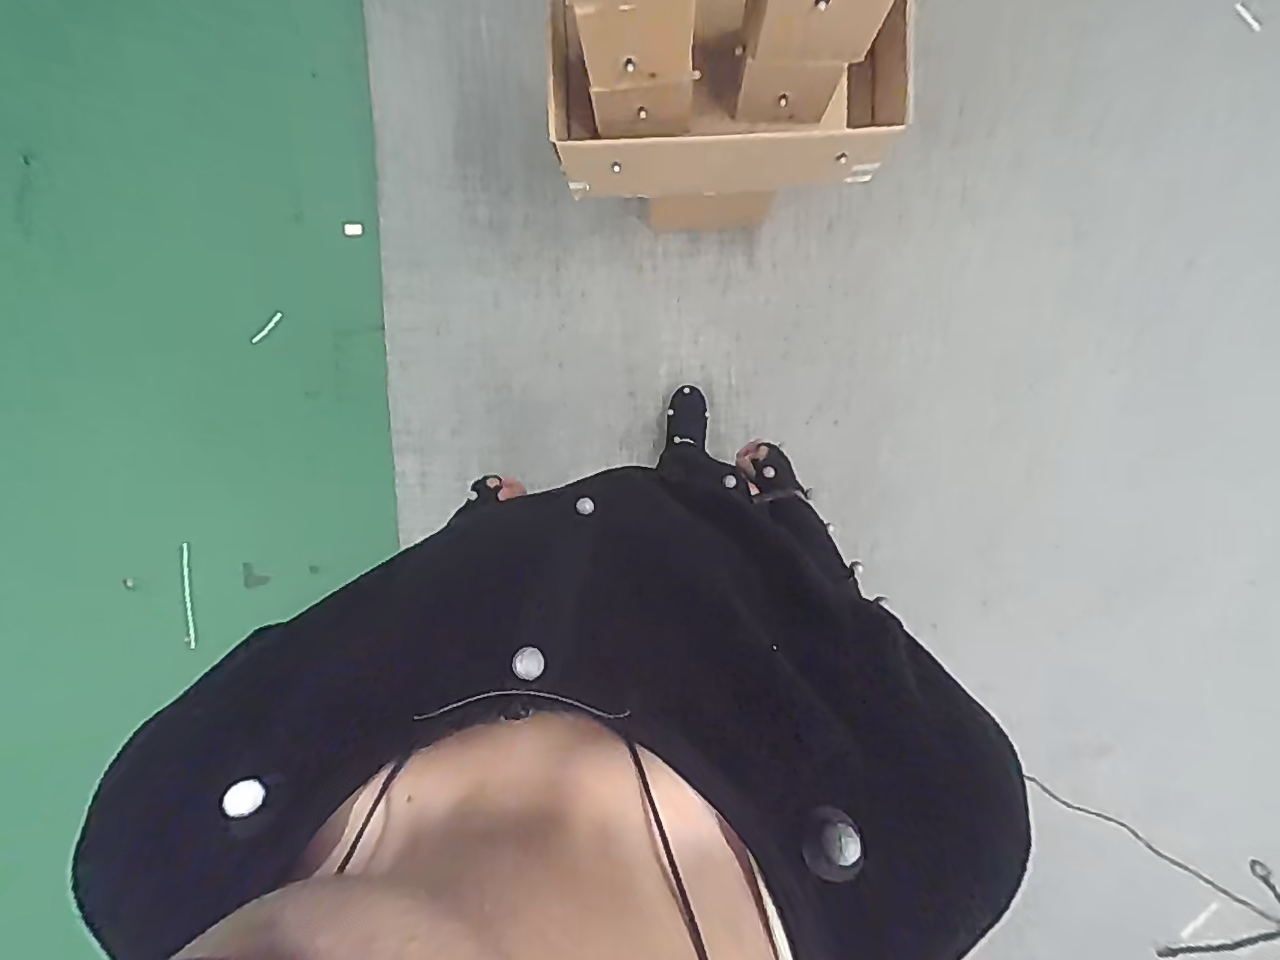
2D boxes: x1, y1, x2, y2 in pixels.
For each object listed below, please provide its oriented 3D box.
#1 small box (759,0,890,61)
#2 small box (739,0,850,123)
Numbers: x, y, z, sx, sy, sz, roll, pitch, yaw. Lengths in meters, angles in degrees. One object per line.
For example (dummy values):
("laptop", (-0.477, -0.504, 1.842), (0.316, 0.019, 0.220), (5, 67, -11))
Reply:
("small box", (0.273, -0.748, 0.782), (0.179, 0.176, 0.168), (3, 94, 2))
("small box", (0.268, -0.760, 0.946), (0.168, 0.176, 0.179), (4, 94, 3))
